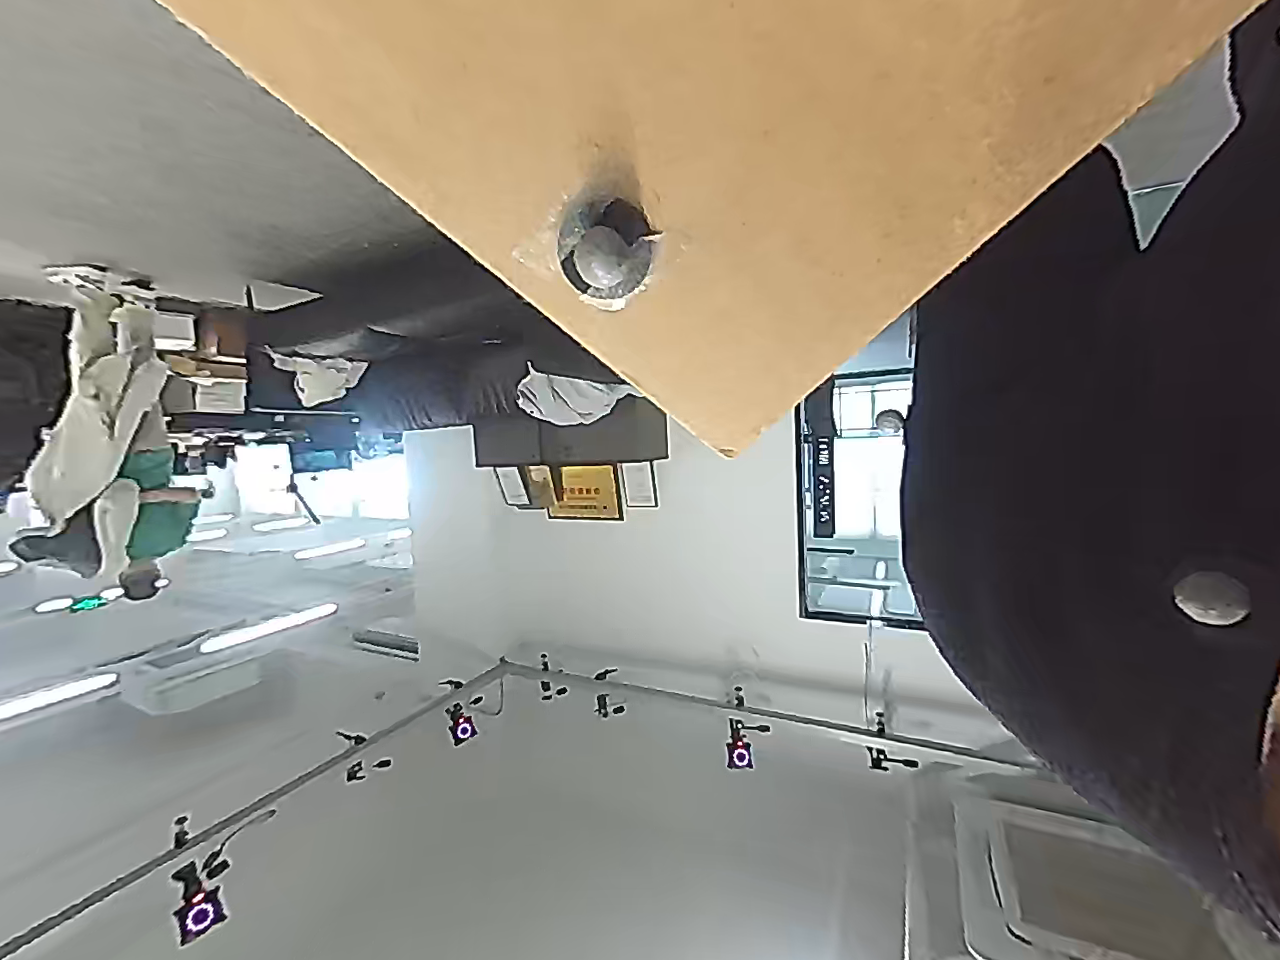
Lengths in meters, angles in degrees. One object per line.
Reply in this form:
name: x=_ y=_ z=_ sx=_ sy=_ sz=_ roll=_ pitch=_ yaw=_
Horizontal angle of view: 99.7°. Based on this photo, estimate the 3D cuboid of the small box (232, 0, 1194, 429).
small box: x=0.030 y=-0.156 z=0.172 sx=0.168 sy=0.176 sz=0.179 roll=36 pitch=-151 yaw=-21
